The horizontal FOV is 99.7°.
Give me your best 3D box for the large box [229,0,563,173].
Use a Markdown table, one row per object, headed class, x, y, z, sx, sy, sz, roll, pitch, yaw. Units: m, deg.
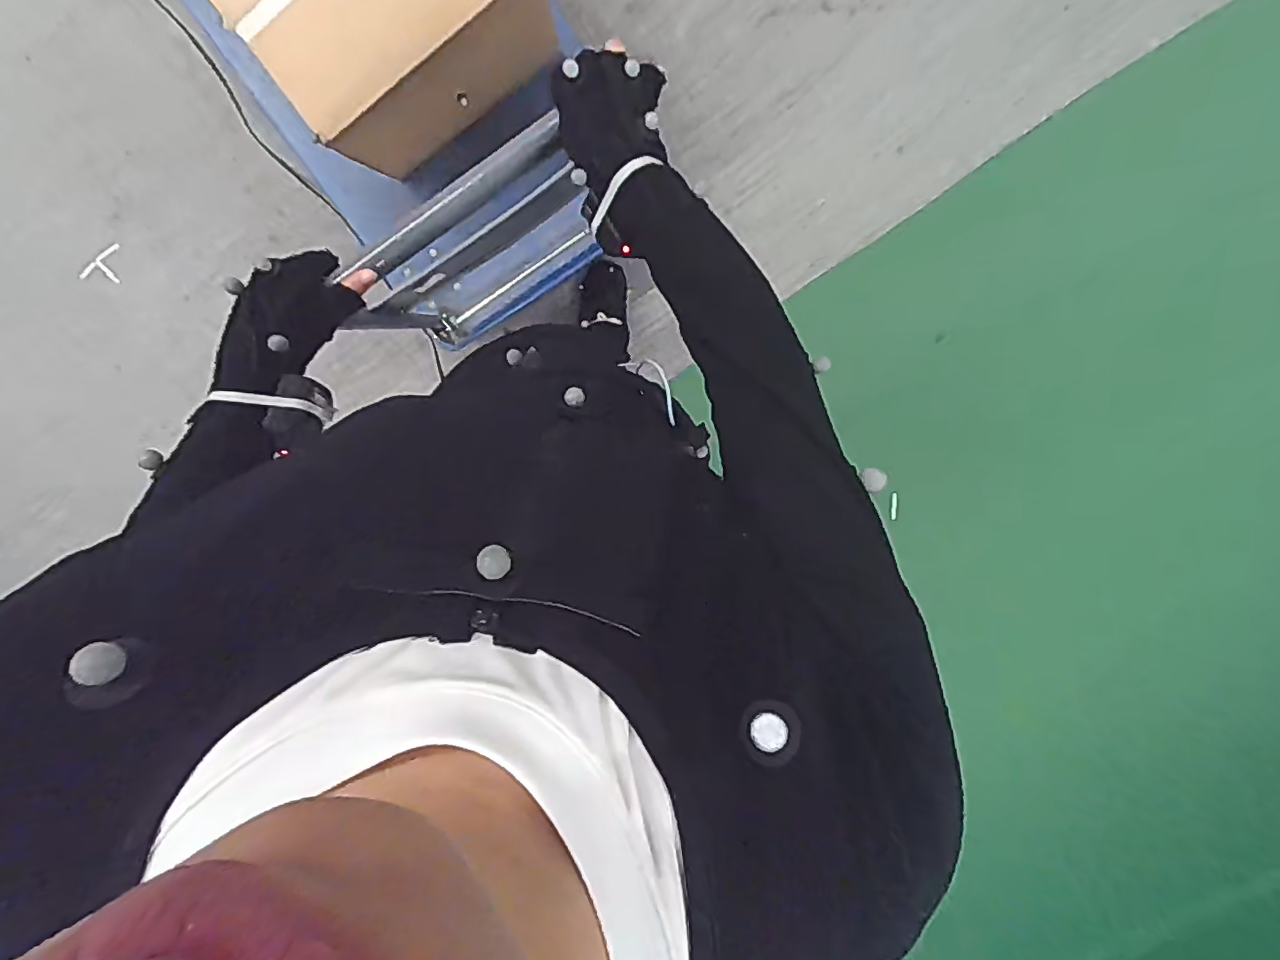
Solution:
| class | x | y | z | sx | sy | sz | roll | pitch | yaw |
| --- | --- | --- | --- | --- | --- | --- | --- | --- | --- |
| large box | -0.384 | -0.789 | 0.882 | 0.408 | 0.320 | 0.320 | -33 | 107 | 10 |
